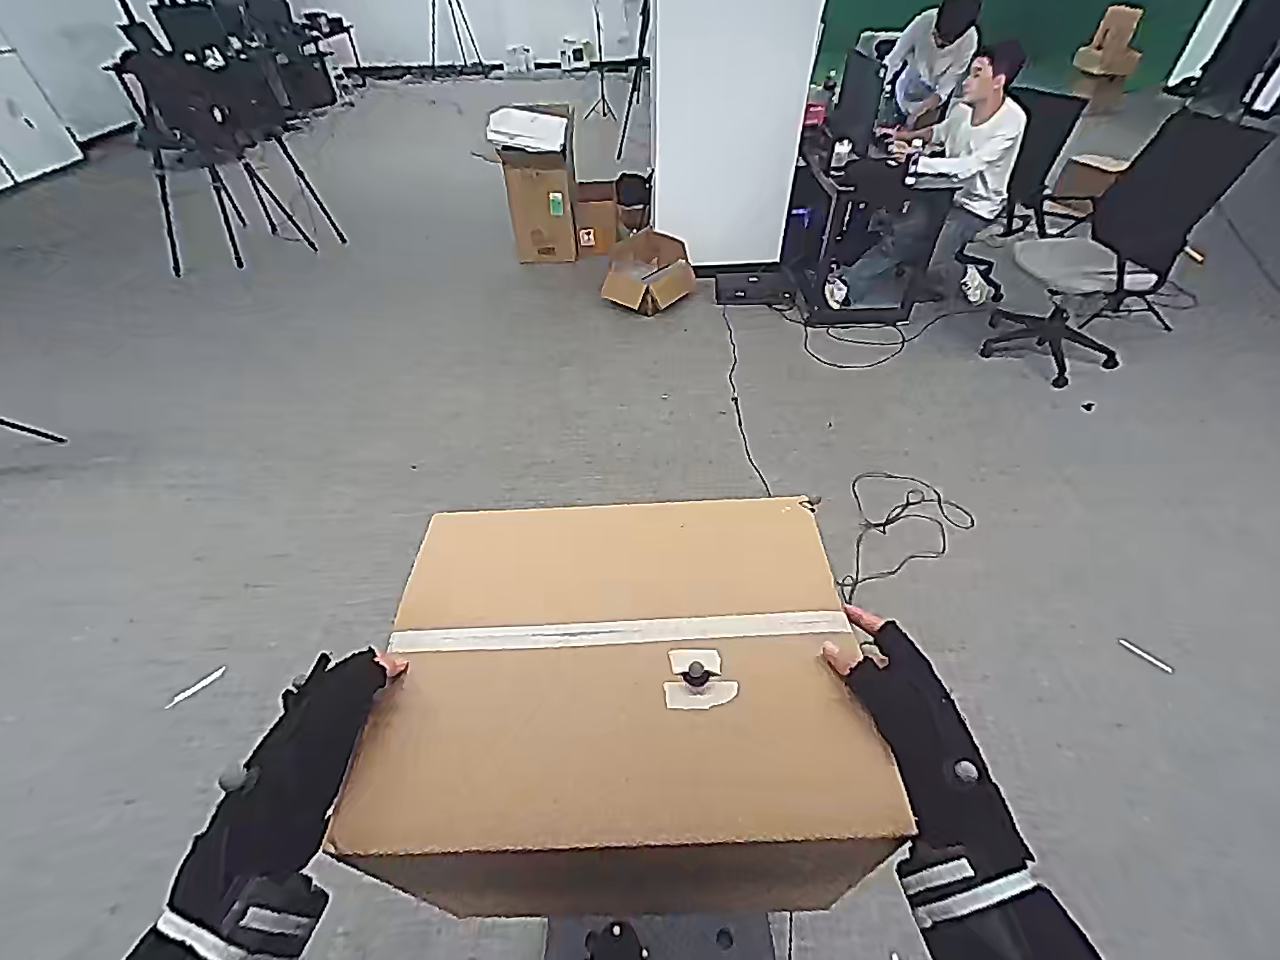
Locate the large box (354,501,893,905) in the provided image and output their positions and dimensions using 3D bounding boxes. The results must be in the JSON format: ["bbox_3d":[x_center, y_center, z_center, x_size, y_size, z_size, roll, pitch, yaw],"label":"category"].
[{"bbox_3d":[-0.012,0.246,0.599,0.408,0.320,0.320,-2,45,1],"label":"large box"}]
